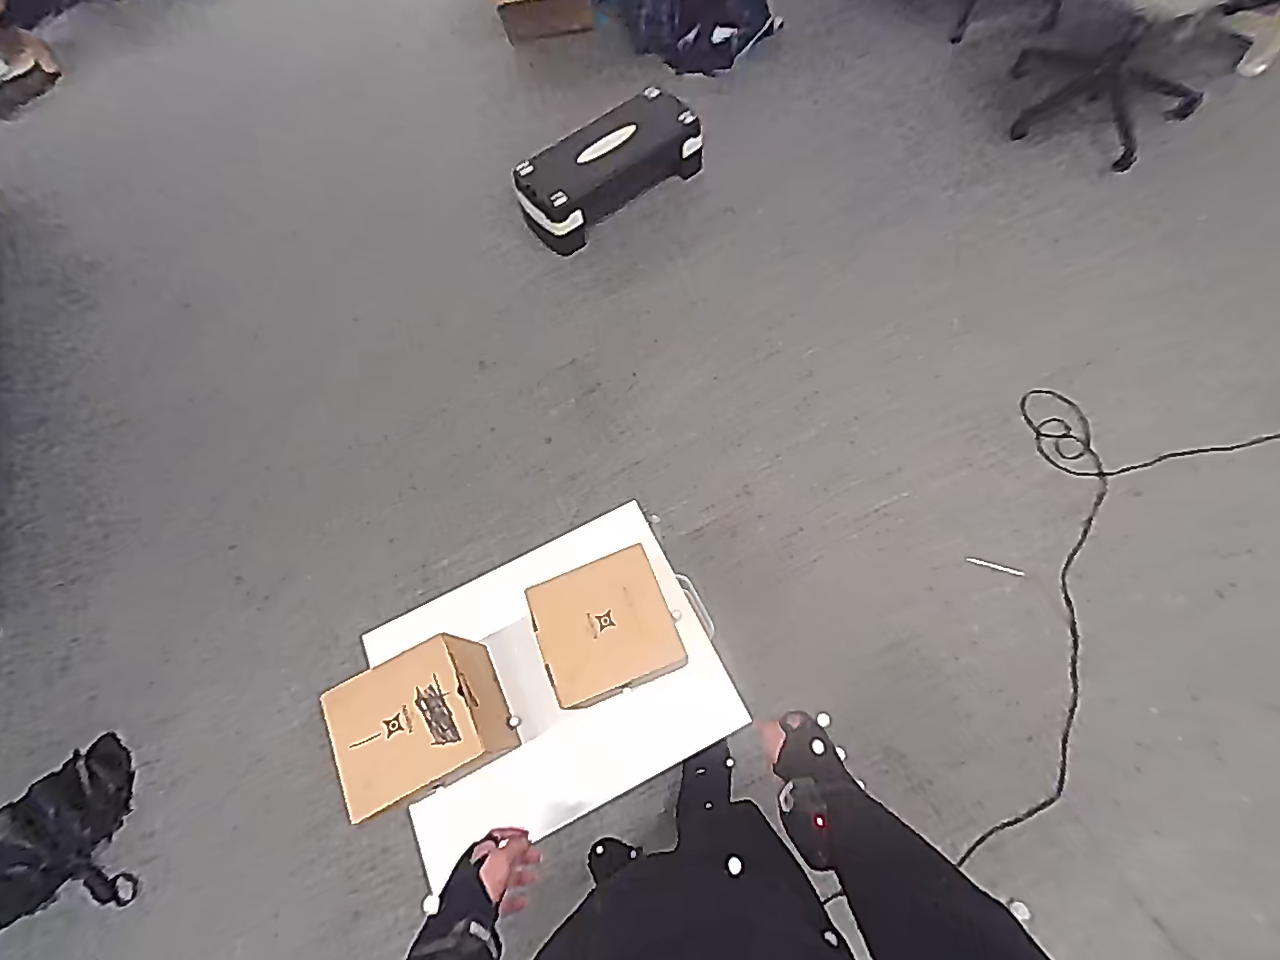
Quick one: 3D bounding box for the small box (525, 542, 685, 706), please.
[{"bbox_3d":[-0.042,0.214,0.785,0.179,0.176,0.168,-22,69,-4],"label":"small box"}]
